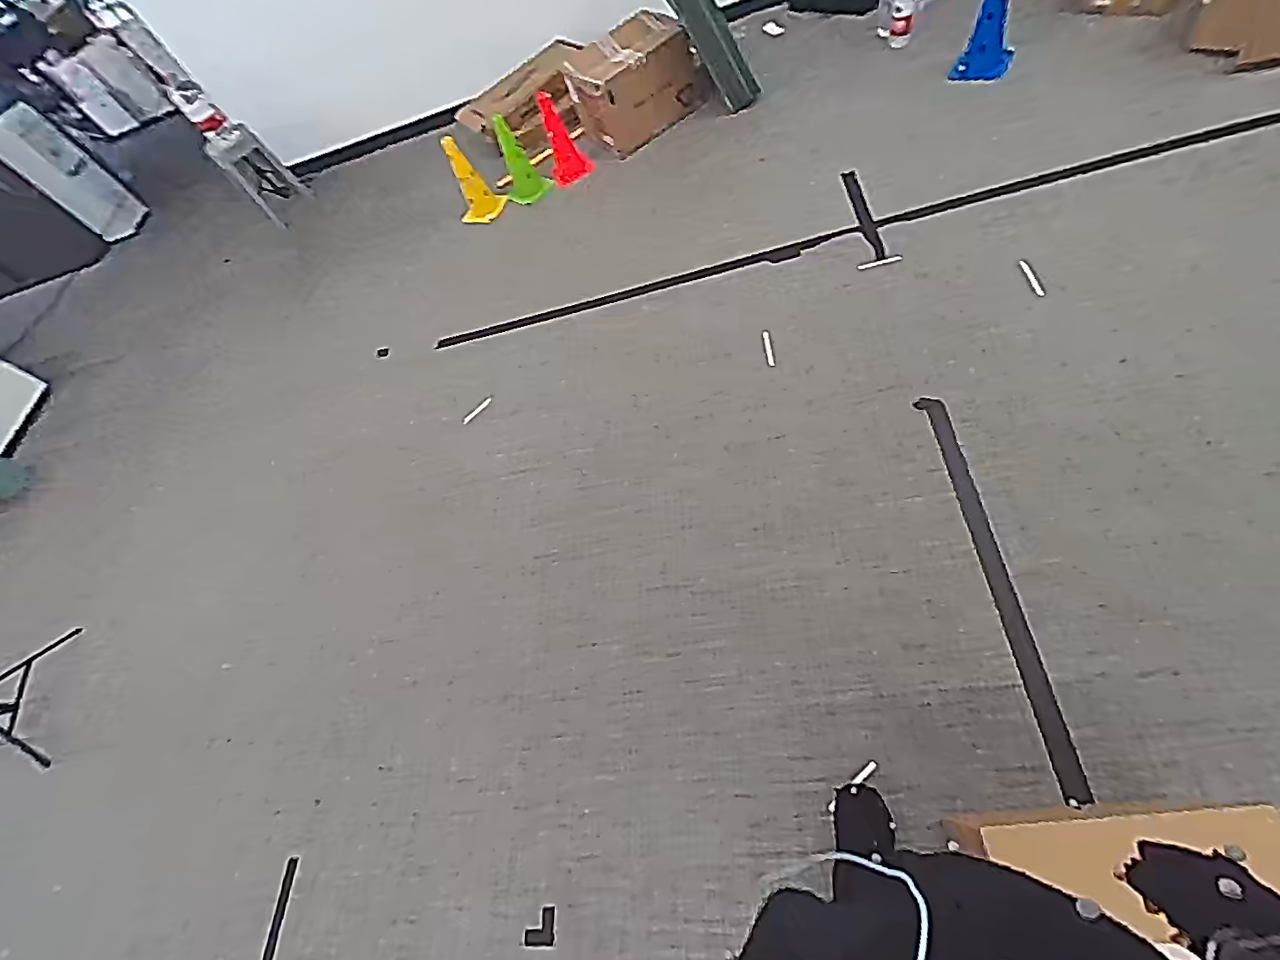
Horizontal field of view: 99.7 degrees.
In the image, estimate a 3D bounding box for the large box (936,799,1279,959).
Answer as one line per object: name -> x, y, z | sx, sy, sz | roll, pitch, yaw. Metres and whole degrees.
large box -> 0.761, 0.706, 0.859 | 0.408, 0.320, 0.320 | -12, 60, 10
